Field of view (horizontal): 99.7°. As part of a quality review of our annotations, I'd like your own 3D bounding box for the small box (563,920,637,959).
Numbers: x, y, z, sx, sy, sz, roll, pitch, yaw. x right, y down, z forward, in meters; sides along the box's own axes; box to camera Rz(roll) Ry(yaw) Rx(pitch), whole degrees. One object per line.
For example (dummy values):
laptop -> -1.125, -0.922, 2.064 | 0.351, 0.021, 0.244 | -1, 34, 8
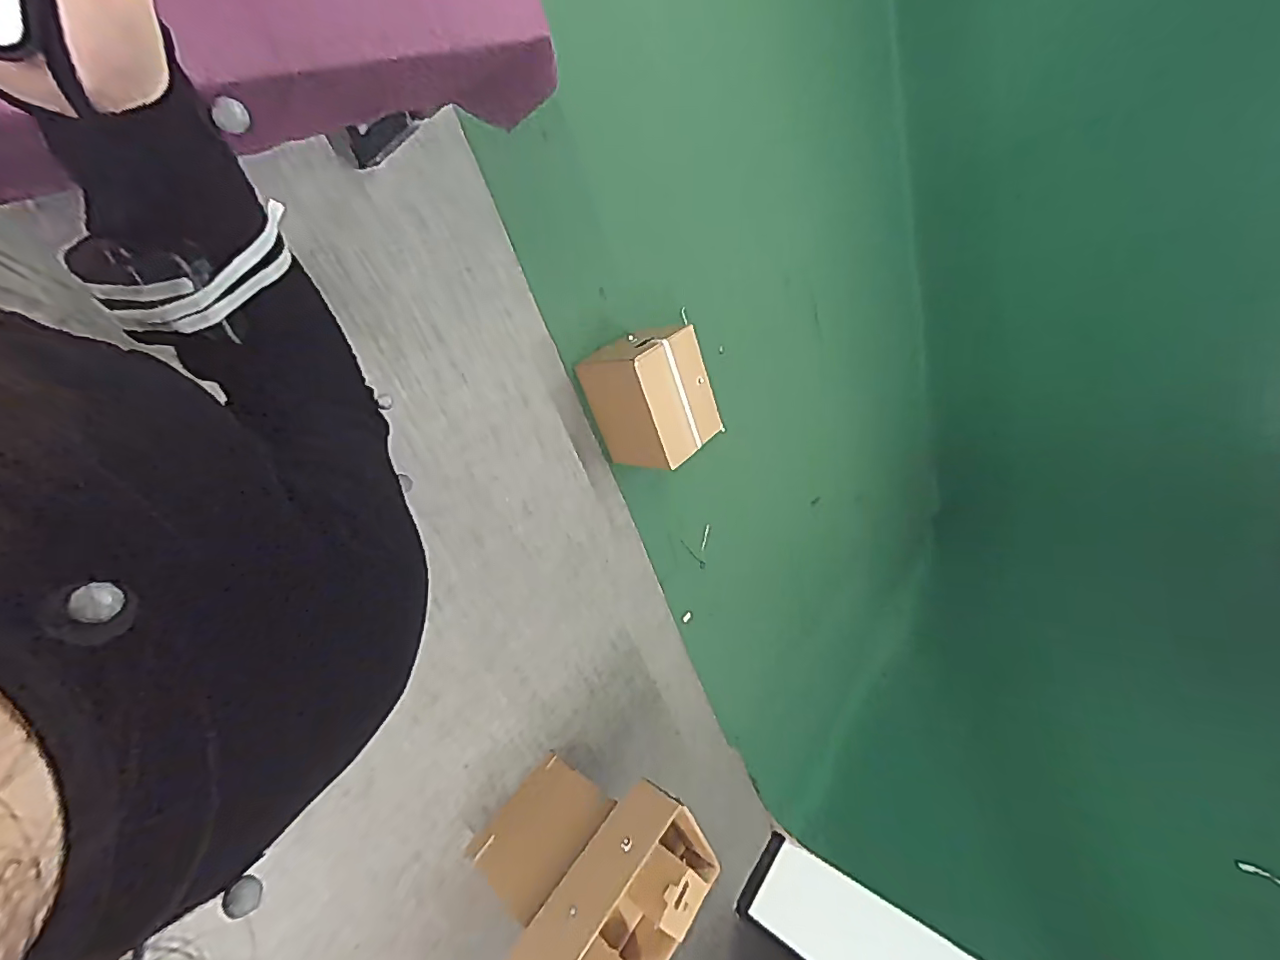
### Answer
small box -> -0.103, 1.392, 1.511 | 0.168, 0.176, 0.179 | -34, 118, -35
